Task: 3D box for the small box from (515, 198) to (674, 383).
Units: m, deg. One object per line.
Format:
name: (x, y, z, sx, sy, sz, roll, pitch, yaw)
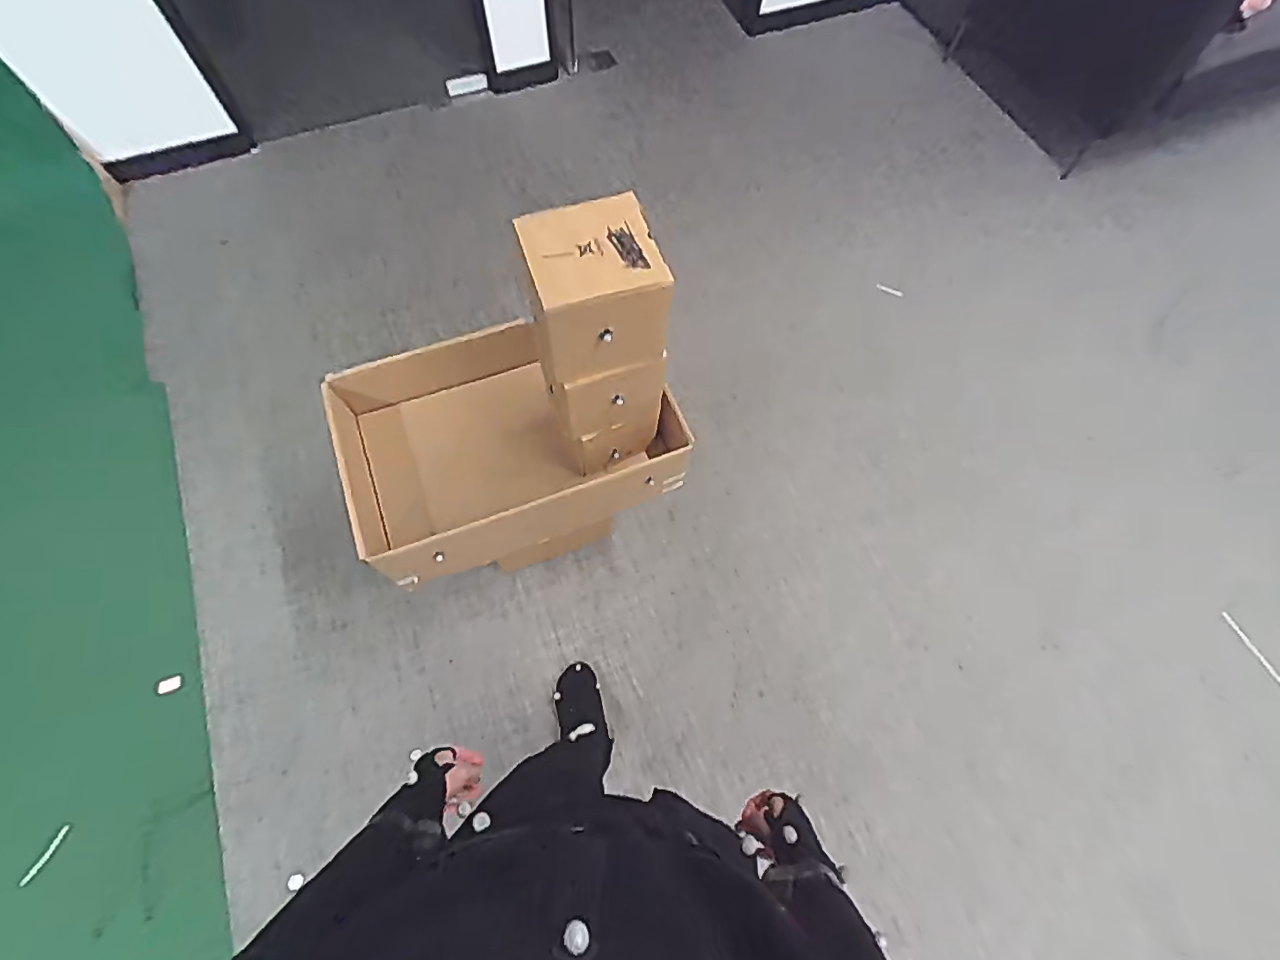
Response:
small box: (-0.066, -0.268, 0.786, 0.179, 0.176, 0.168, -17, 69, -9)
